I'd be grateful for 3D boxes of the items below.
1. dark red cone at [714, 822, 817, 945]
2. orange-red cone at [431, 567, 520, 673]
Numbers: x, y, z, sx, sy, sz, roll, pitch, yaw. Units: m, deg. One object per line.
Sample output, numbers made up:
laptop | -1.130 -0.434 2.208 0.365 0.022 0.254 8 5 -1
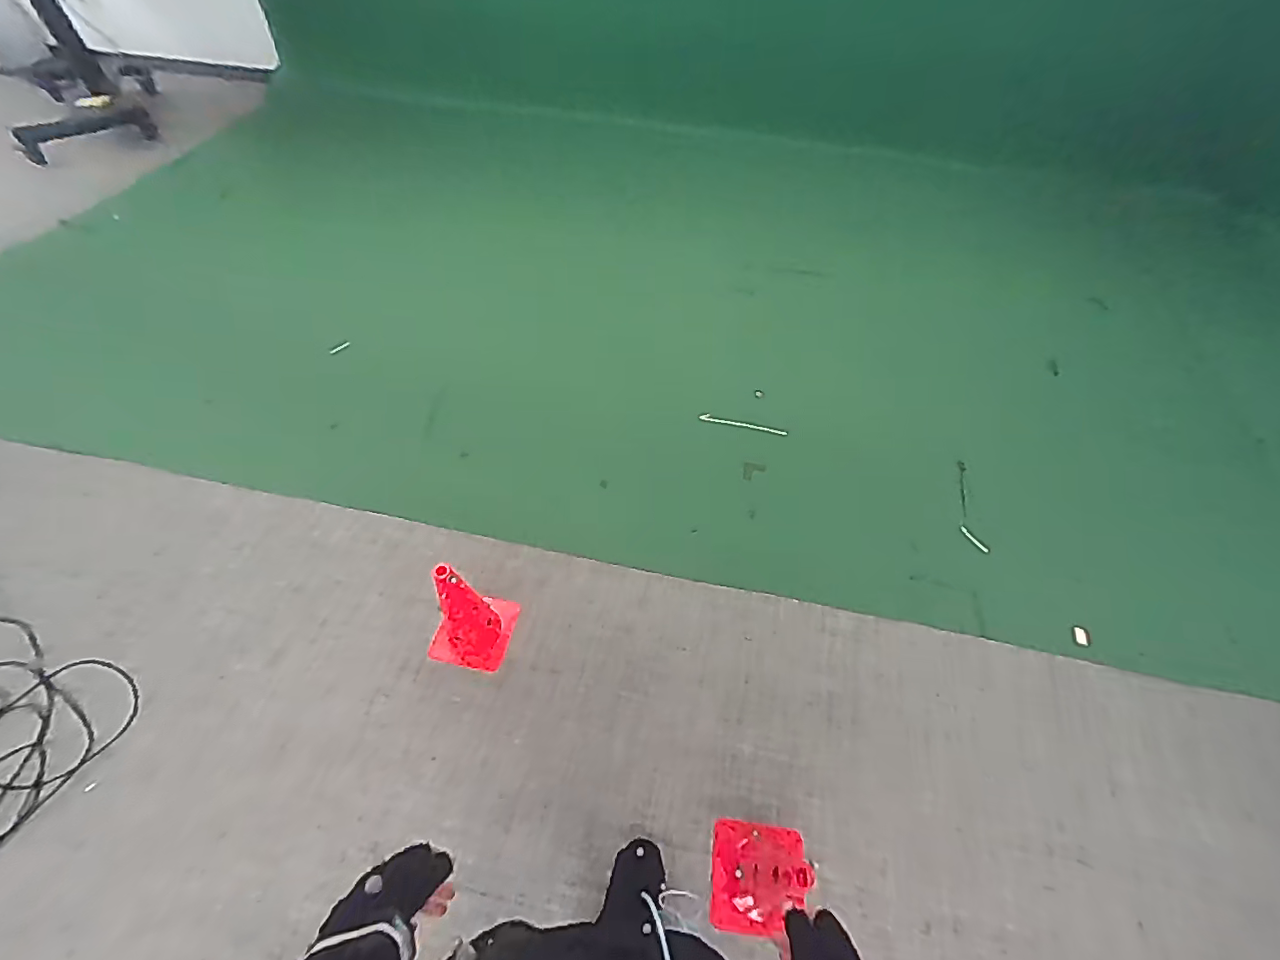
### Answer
dark red cone | 0.263 0.748 1.017 0.202 0.394 0.201 6 52 3
orange-red cone | -0.446 0.316 1.345 0.198 0.360 0.199 10 54 7
